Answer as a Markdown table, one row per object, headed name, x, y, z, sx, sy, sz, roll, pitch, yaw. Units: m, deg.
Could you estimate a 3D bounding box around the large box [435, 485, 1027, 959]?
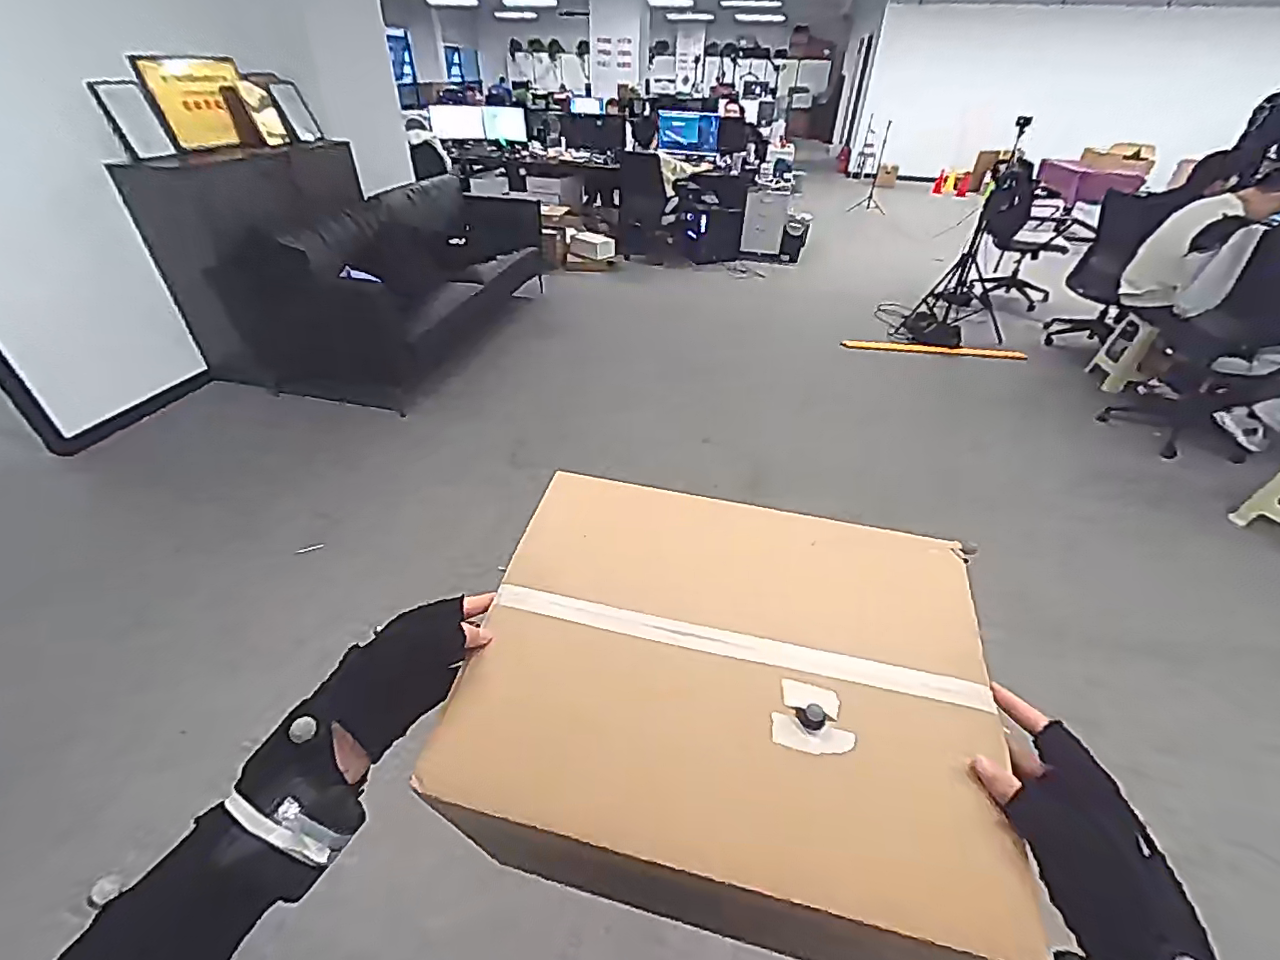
| name | x | y | z | sx | sy | sz | roll | pitch | yaw |
| --- | --- | --- | --- | --- | --- | --- | --- | --- | --- |
| large box | 0.075 | 0.243 | 0.564 | 0.408 | 0.320 | 0.320 | 10 | 48 | 9 |
